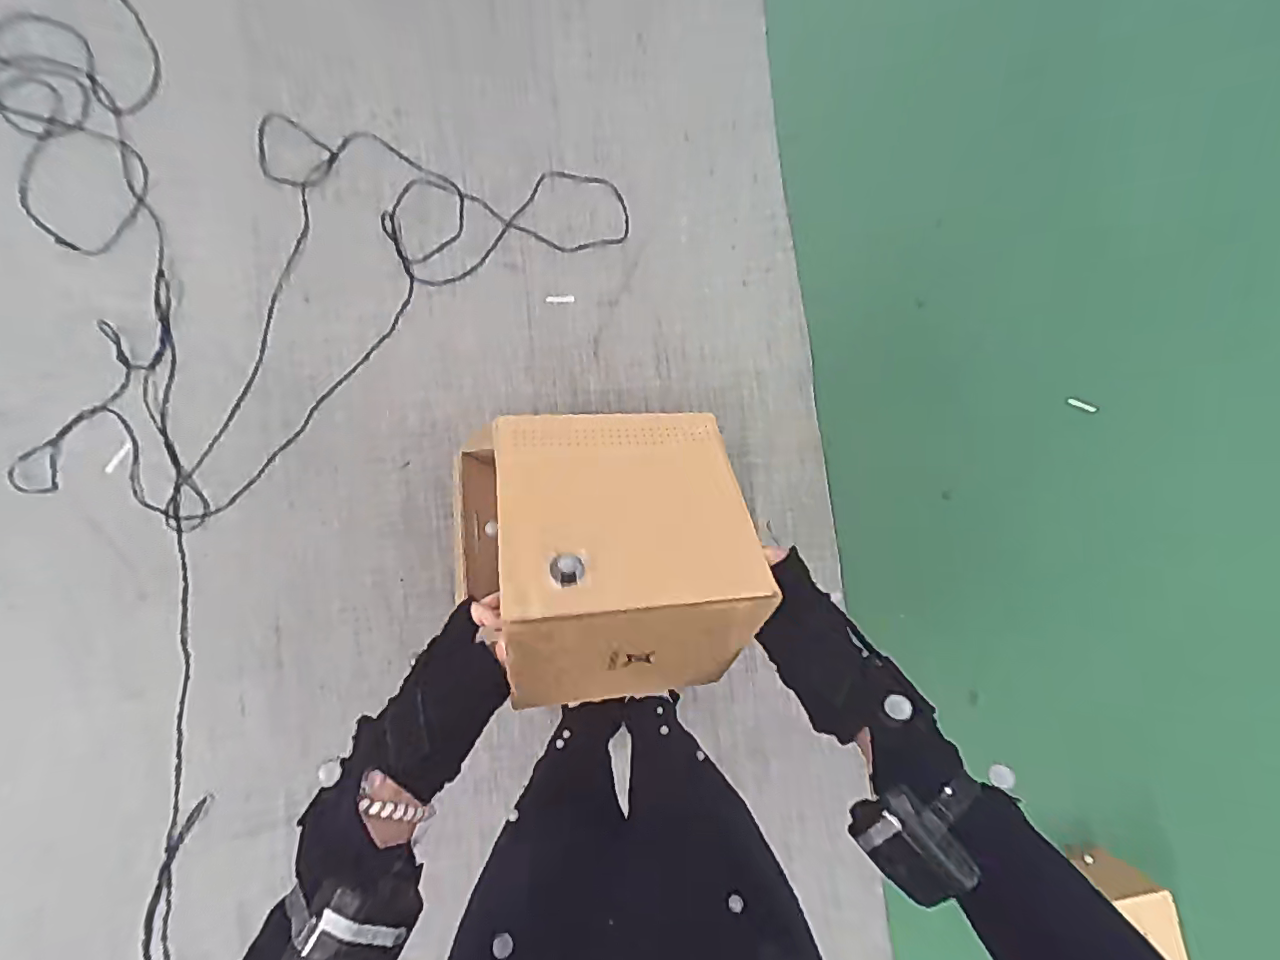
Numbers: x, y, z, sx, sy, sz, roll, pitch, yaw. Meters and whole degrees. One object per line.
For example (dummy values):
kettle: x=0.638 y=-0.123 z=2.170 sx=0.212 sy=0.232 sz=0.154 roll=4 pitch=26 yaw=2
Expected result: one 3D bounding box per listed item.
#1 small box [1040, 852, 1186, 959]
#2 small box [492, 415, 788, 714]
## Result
small box: x=1.034 y=0.969 z=1.193 sx=0.168 sy=0.176 sz=0.179 roll=-8 pitch=84 yaw=-4
small box: x=-0.018 y=0.063 z=0.421 sx=0.179 sy=0.168 sz=0.176 roll=-4 pitch=53 yaw=-13
